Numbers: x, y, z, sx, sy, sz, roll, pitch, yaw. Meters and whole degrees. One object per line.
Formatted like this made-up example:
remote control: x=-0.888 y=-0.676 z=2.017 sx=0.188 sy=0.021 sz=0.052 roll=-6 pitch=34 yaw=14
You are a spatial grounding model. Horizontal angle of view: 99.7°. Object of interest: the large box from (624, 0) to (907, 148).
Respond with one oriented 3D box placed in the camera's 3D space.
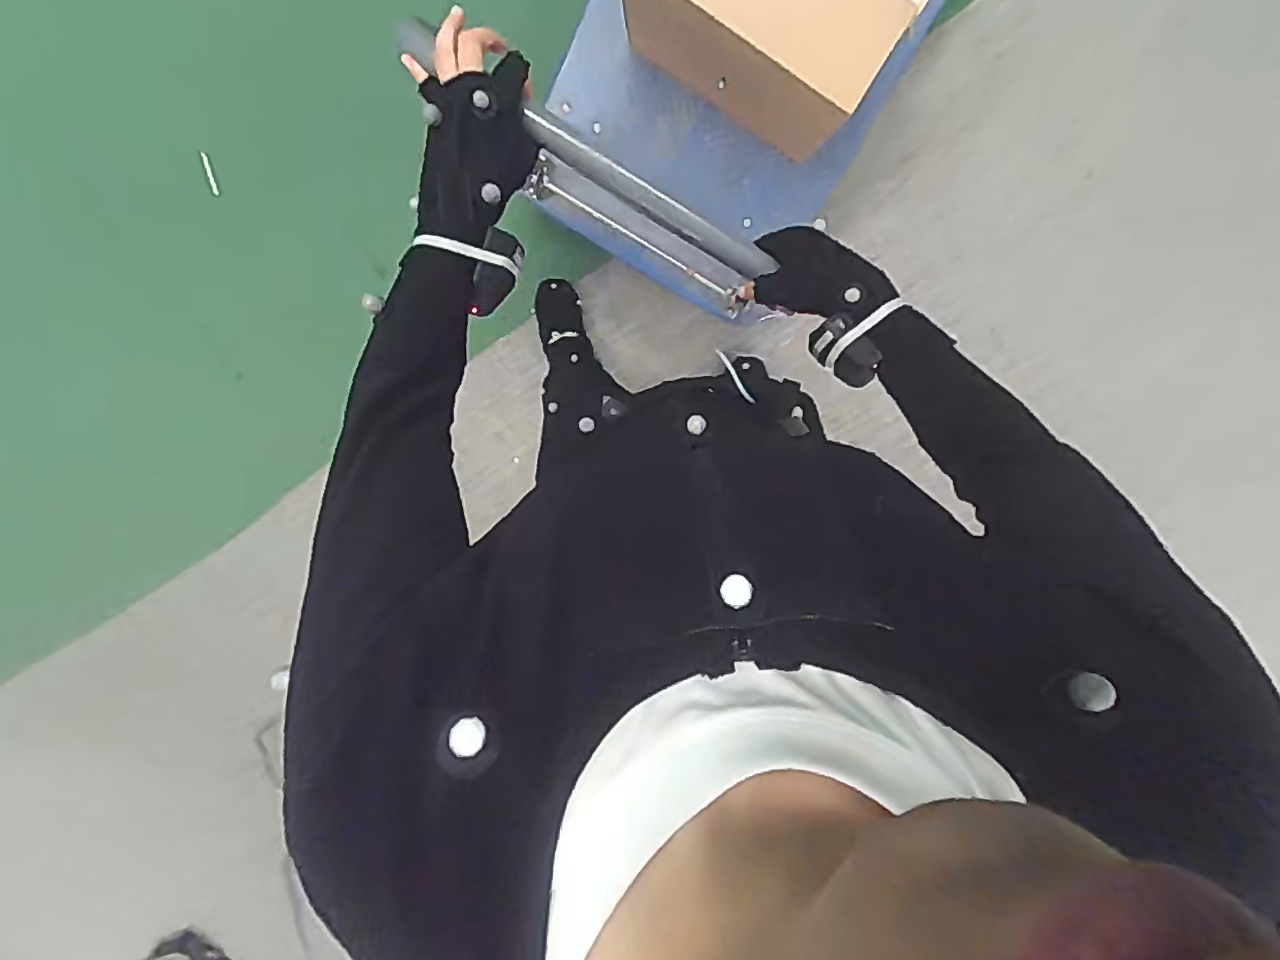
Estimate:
large box: x=0.217 y=-0.819 z=0.865 sx=0.408 sy=0.320 sz=0.320 roll=30 pitch=107 yaw=-7
